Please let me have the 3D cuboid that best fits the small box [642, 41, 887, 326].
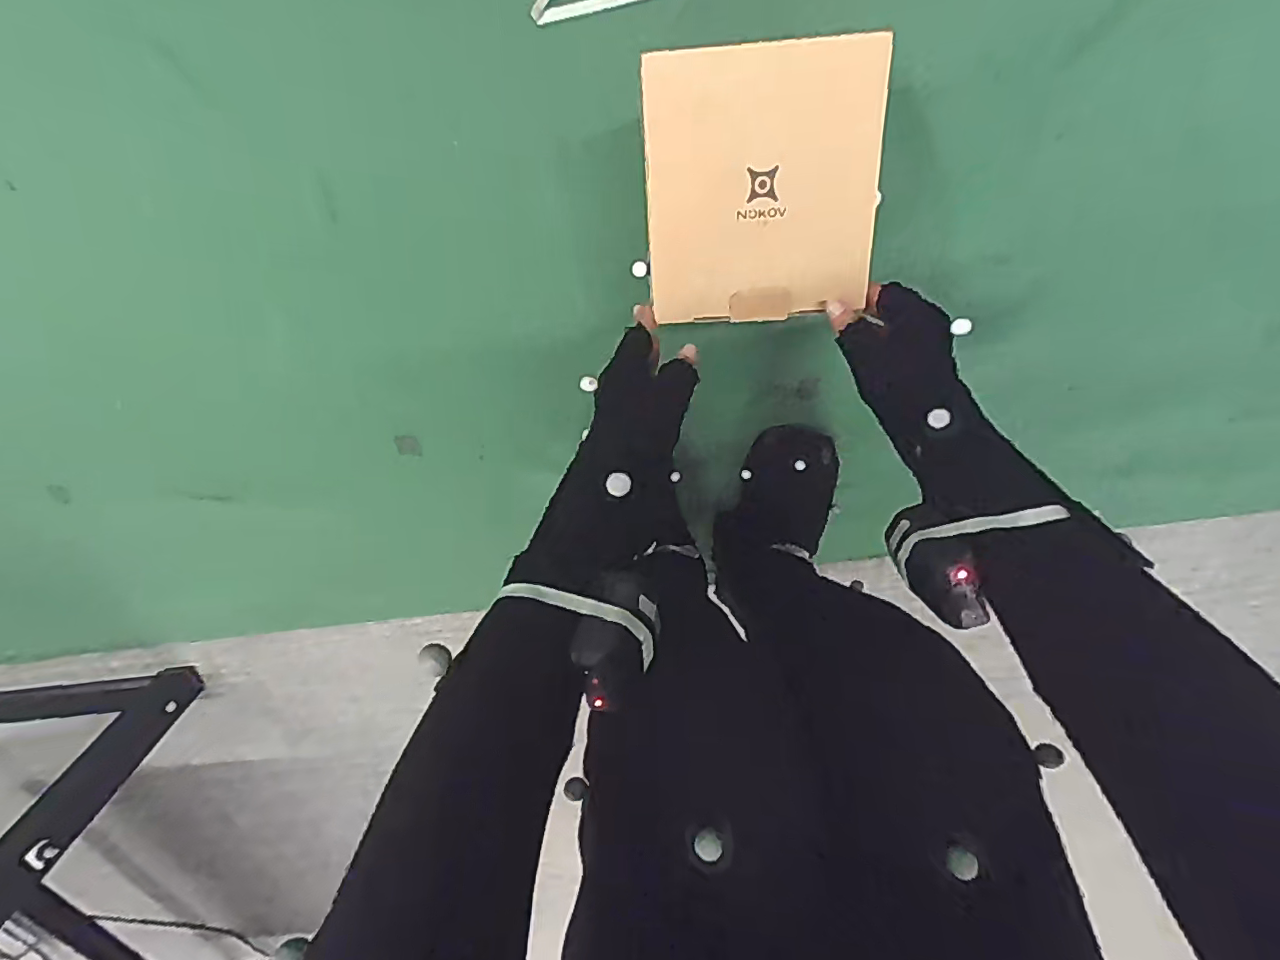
[{"bbox_3d":[0.088,-0.235,0.463,0.168,0.176,0.179,-3,113,2],"label":"small box"}]
